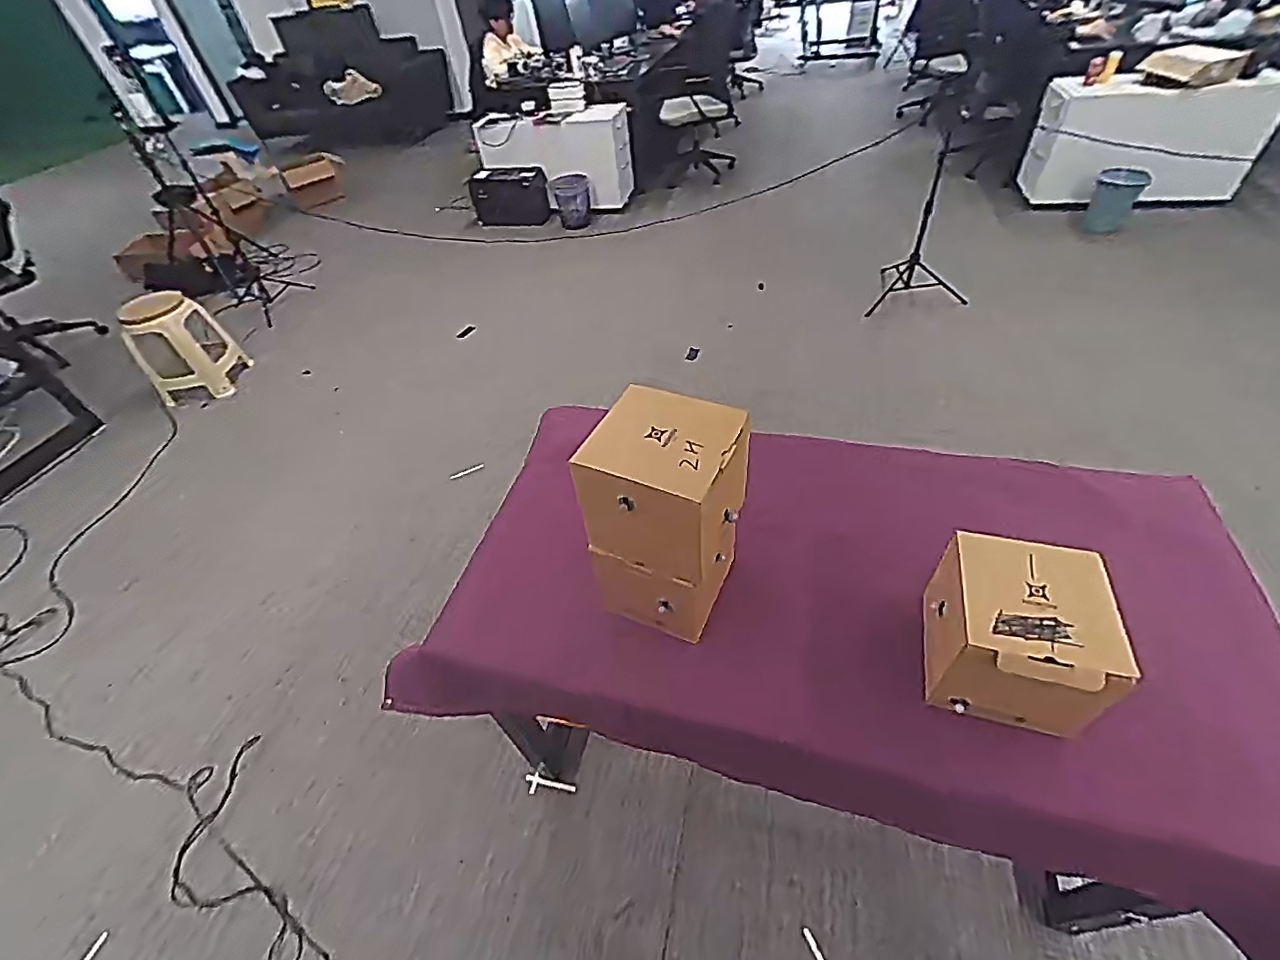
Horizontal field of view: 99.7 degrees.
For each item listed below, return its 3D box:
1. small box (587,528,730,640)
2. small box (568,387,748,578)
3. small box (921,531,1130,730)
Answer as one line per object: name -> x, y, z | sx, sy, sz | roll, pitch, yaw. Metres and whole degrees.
small box -> 0.040, 0.118, 0.842 | 0.168, 0.176, 0.179 | 16, 50, 21
small box -> 0.031, 0.005, 0.724 | 0.179, 0.176, 0.168 | 17, 52, 21
small box -> 0.477, 0.196, 0.704 | 0.168, 0.176, 0.179 | 9, 47, 16
